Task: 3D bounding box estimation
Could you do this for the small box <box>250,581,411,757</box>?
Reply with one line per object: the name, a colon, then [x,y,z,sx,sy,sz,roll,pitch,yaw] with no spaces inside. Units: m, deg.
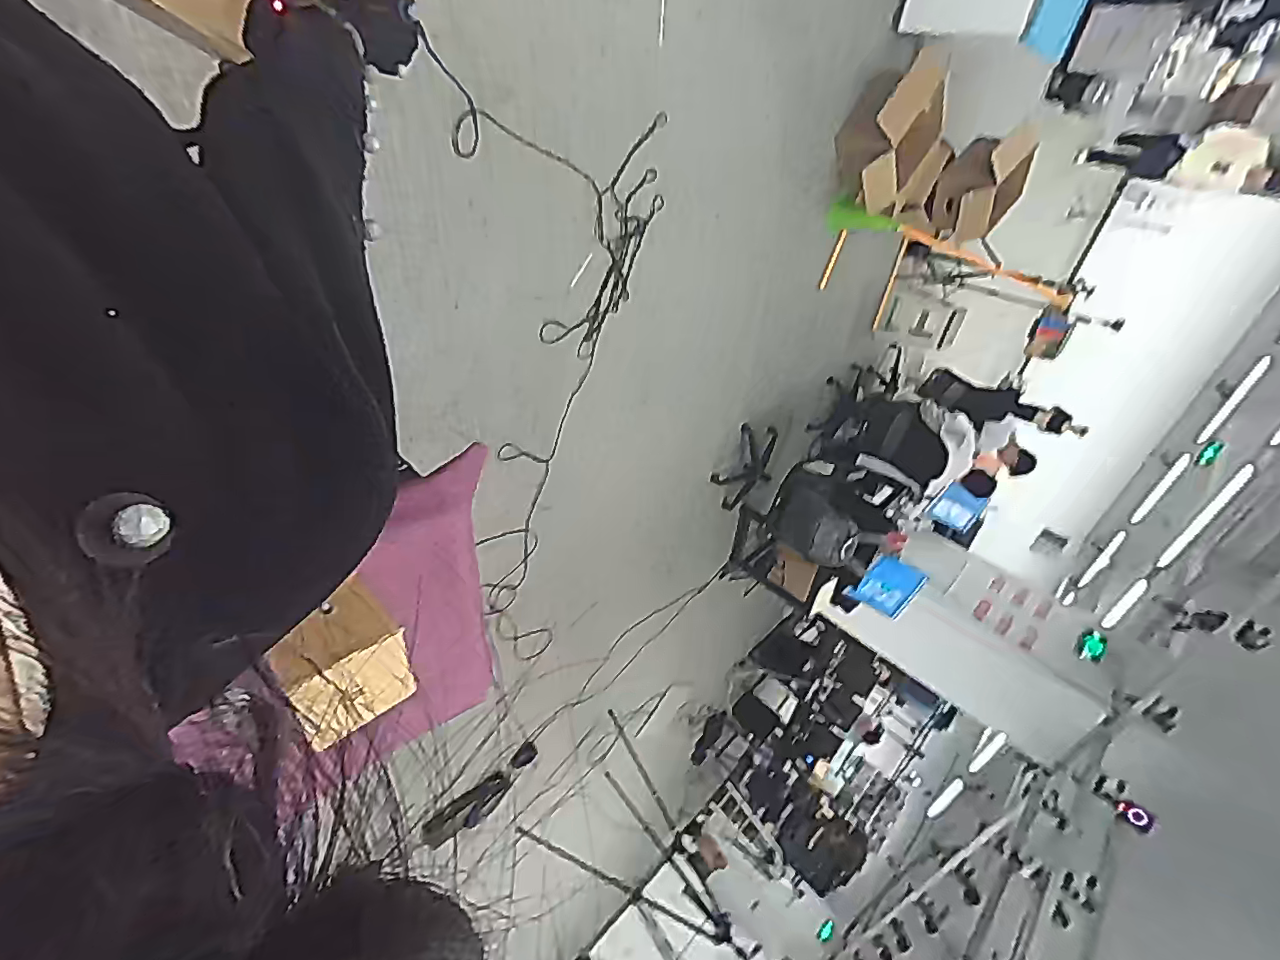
small box: [-0.503,0.302,0.890,0.168,0.176,0.179,-27,138,-37]
